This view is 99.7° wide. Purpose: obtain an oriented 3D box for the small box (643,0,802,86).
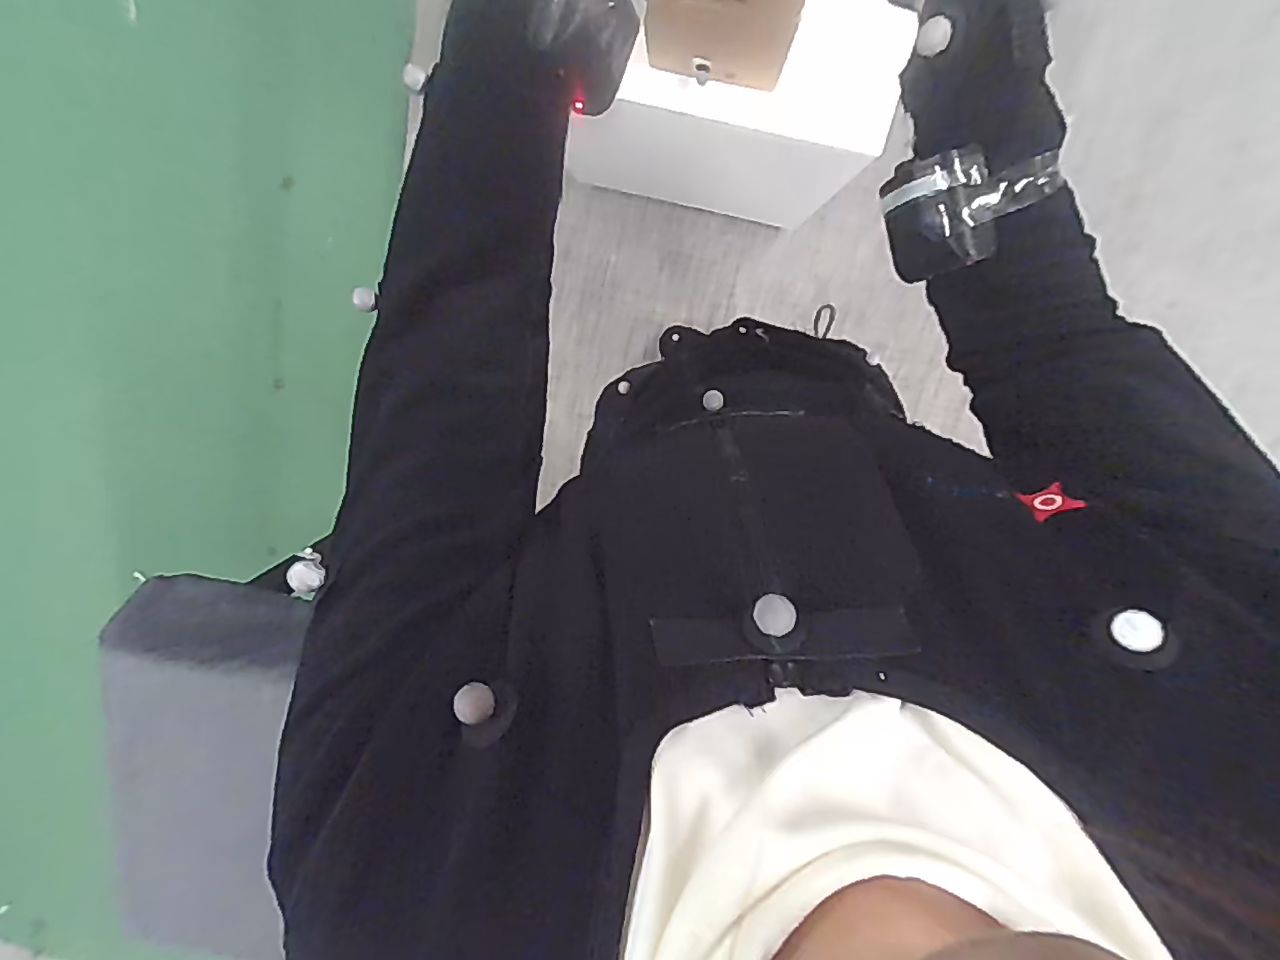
[{"bbox_3d":[0.097,-0.565,0.576,0.168,0.176,0.179,12,108,3],"label":"small box"}]
